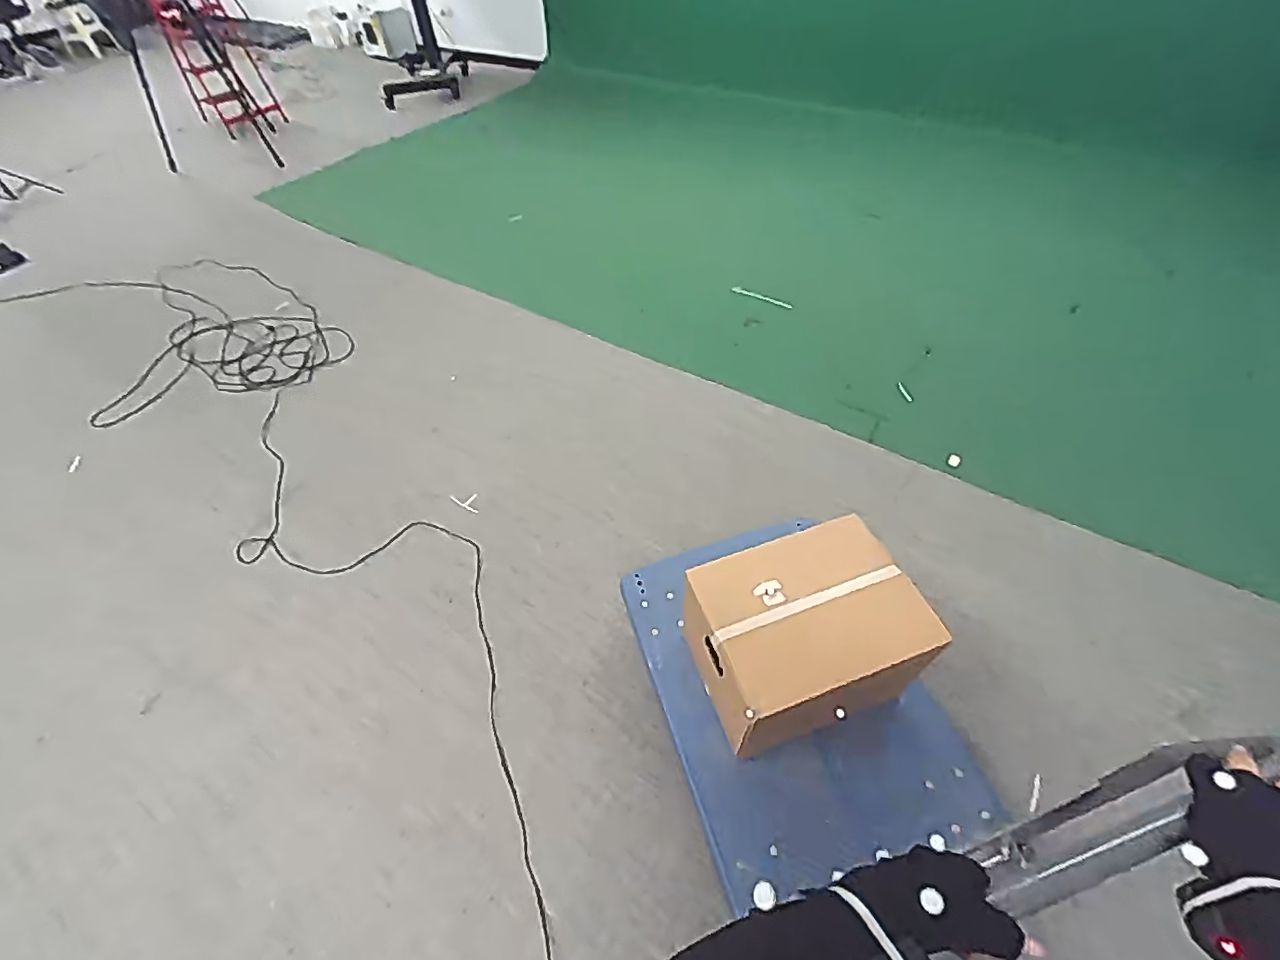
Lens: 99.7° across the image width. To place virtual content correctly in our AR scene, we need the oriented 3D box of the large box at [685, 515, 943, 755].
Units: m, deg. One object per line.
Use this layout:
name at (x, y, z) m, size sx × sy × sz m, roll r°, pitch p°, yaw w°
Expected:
large box at (0.340, 0.338, 1.173) m, size 0.408 × 0.320 × 0.320 m, roll -18°, pitch 51°, yaw -10°
